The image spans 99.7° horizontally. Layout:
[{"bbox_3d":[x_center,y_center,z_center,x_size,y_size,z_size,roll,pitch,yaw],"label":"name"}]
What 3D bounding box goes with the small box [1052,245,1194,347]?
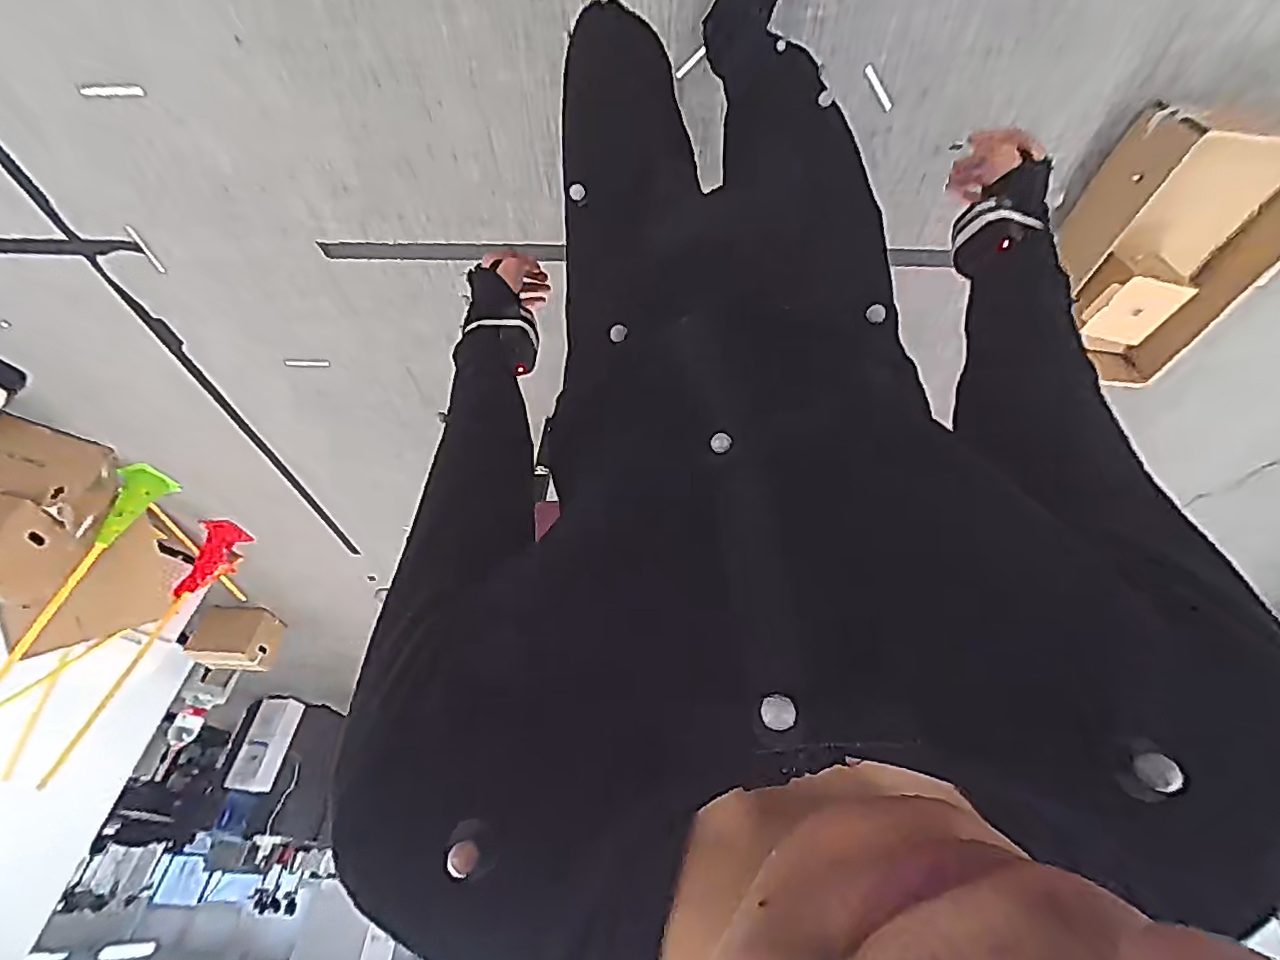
[{"bbox_3d":[1.202,-0.468,1.365,0.179,0.176,0.168,10,141,-7],"label":"small box"}]
